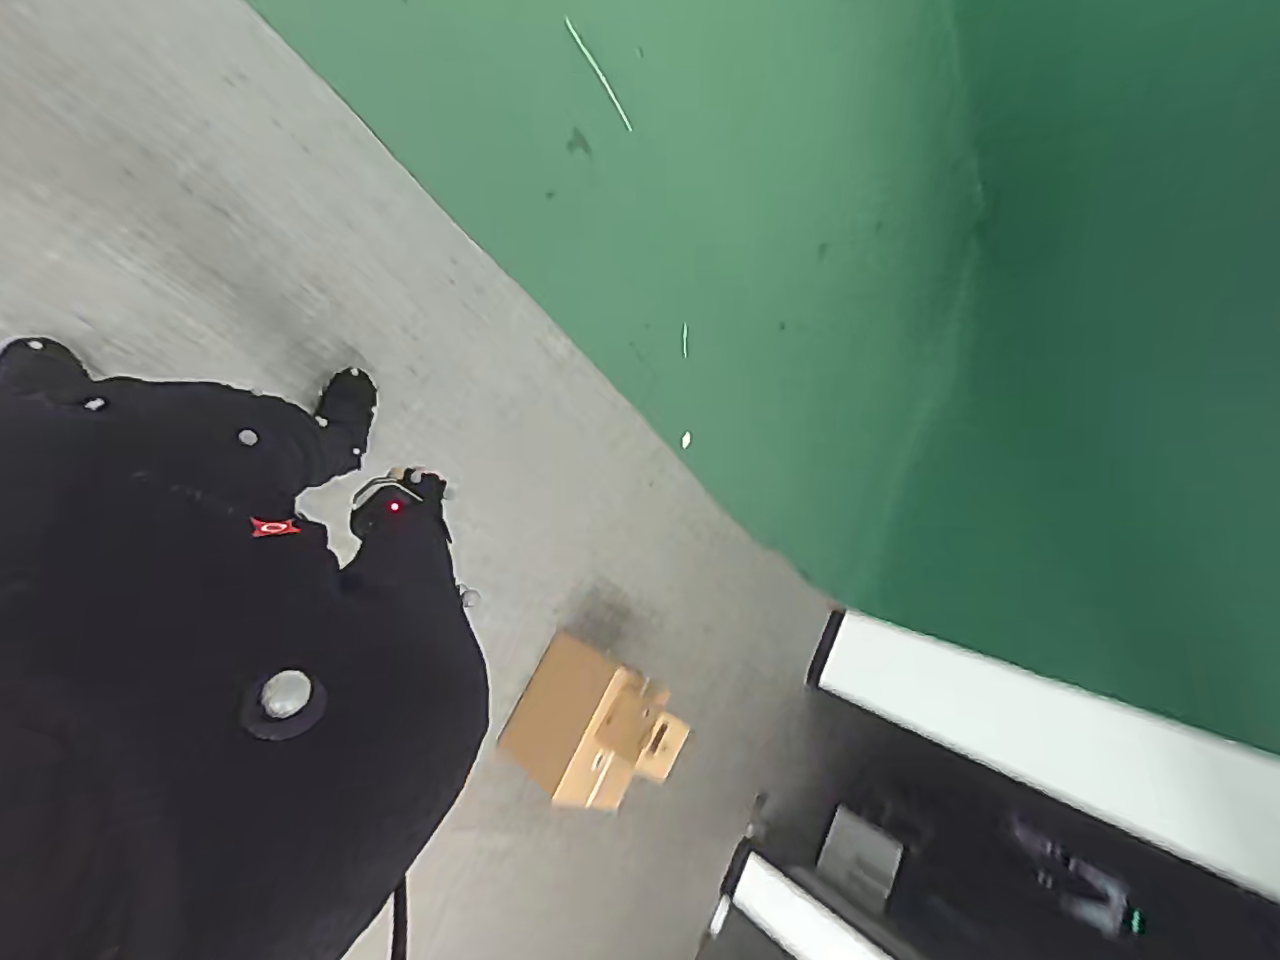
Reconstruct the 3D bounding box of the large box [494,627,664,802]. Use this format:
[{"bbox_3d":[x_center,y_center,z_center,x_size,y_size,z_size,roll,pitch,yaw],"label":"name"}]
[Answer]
[{"bbox_3d":[-0.193,0.751,1.757,0.320,0.320,0.408,41,73,-42],"label":"large box"}]
